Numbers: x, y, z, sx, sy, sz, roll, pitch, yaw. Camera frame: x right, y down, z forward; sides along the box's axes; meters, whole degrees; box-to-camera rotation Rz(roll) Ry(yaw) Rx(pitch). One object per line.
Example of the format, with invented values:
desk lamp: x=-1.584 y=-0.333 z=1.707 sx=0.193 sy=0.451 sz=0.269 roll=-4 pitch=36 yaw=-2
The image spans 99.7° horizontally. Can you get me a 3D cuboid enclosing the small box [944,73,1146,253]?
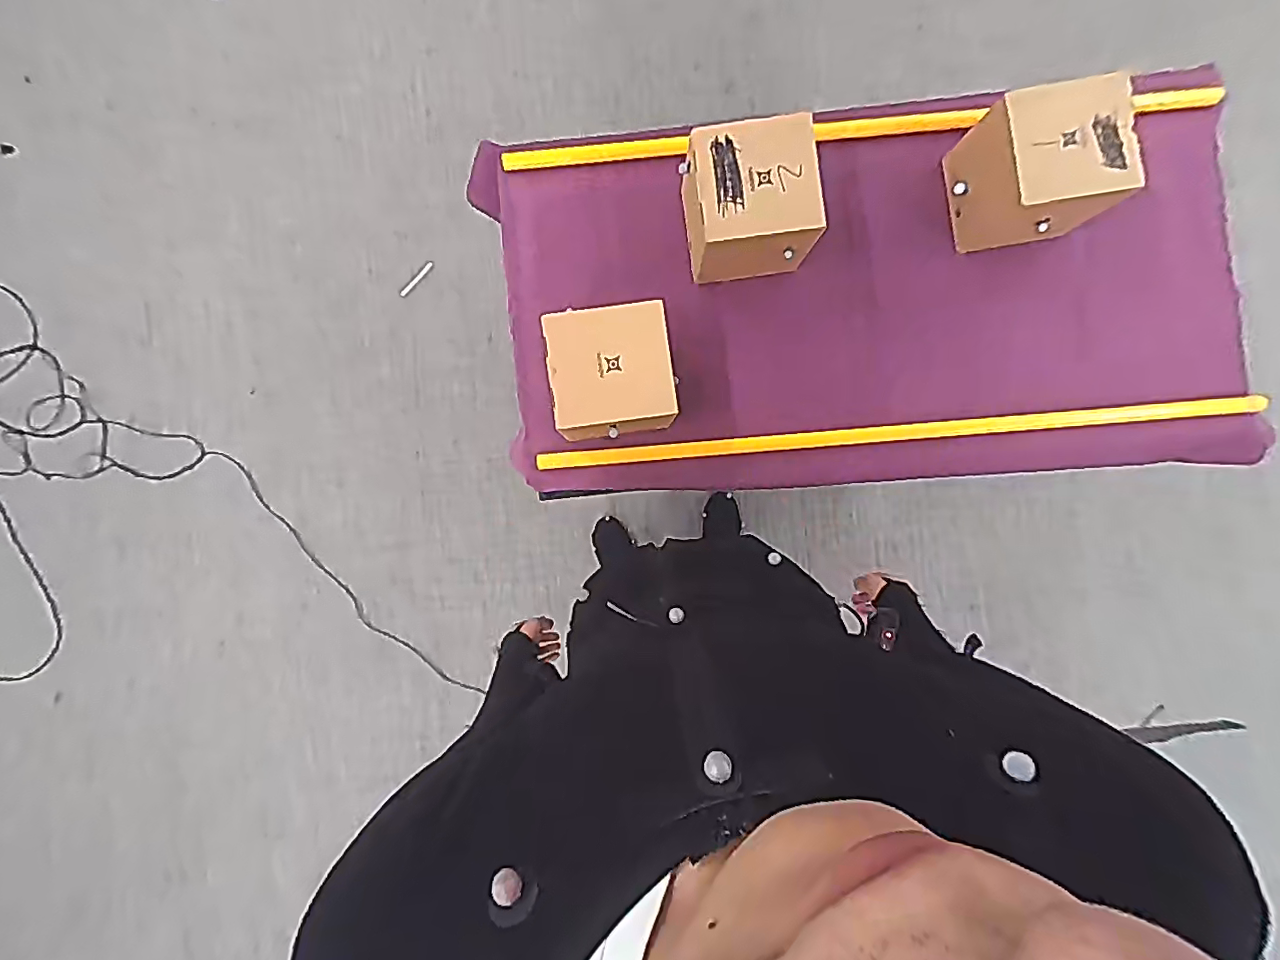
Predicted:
small box: x=0.605 y=-0.471 z=0.828 sx=0.179 sy=0.176 sz=0.168 roll=-9 pitch=90 yaw=2

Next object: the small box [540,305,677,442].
small box: x=-0.045 y=-0.154 z=0.834 sx=0.179 sy=0.176 sz=0.168 roll=-8 pitch=89 yaw=0
